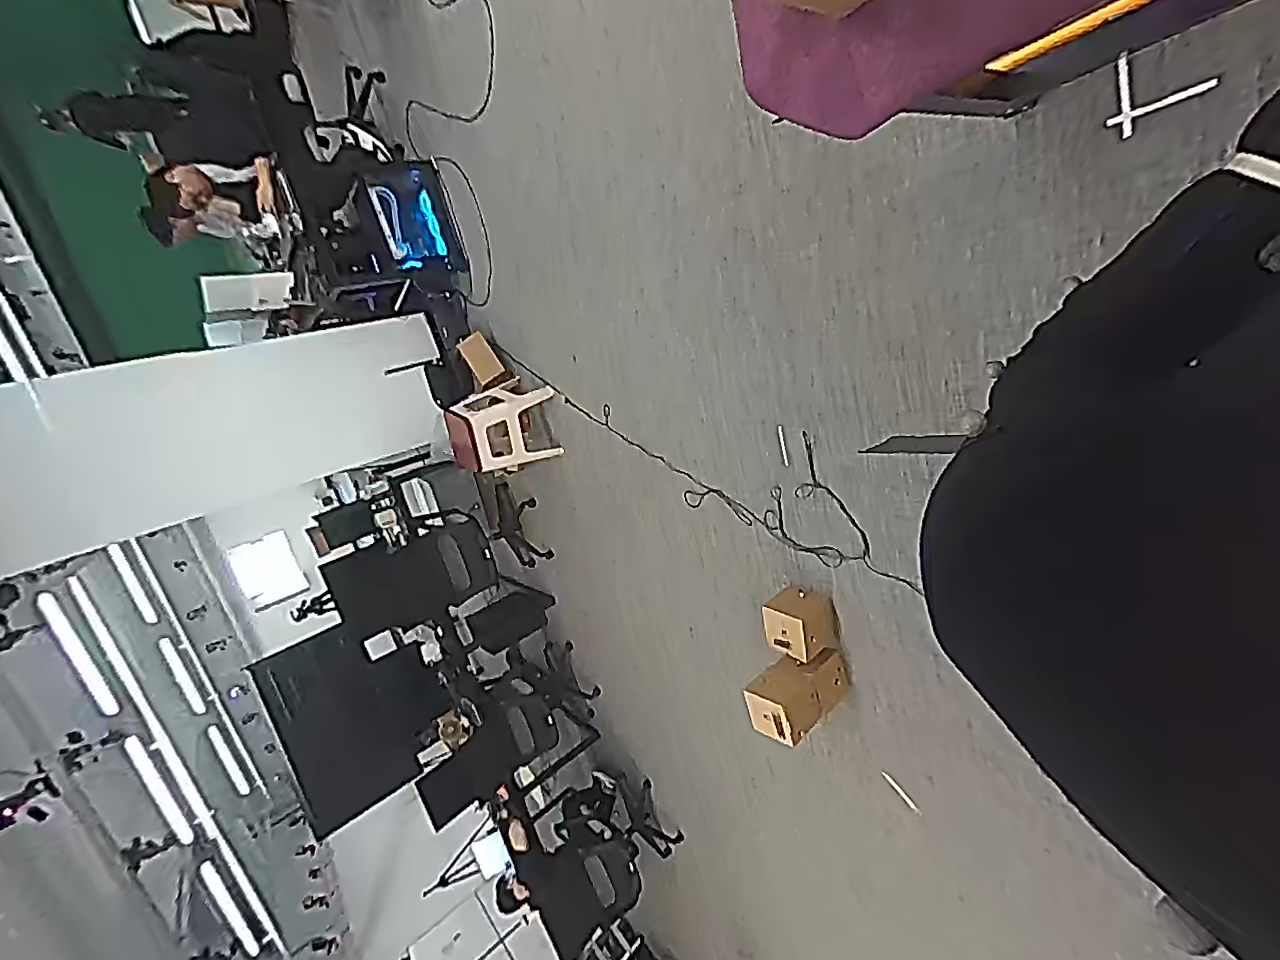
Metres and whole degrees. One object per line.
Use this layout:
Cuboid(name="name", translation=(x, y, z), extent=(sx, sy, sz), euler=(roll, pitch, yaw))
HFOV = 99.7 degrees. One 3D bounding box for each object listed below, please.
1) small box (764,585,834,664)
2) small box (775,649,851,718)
Cuboid(name="small box", translation=(0.559, 0.498, 1.884), extent=(0.168, 0.176, 0.179), euler=(11, 120, 50))
Cuboid(name="small box", translation=(0.623, 0.715, 1.943), extent=(0.179, 0.176, 0.168), euler=(-8, 105, 55))
